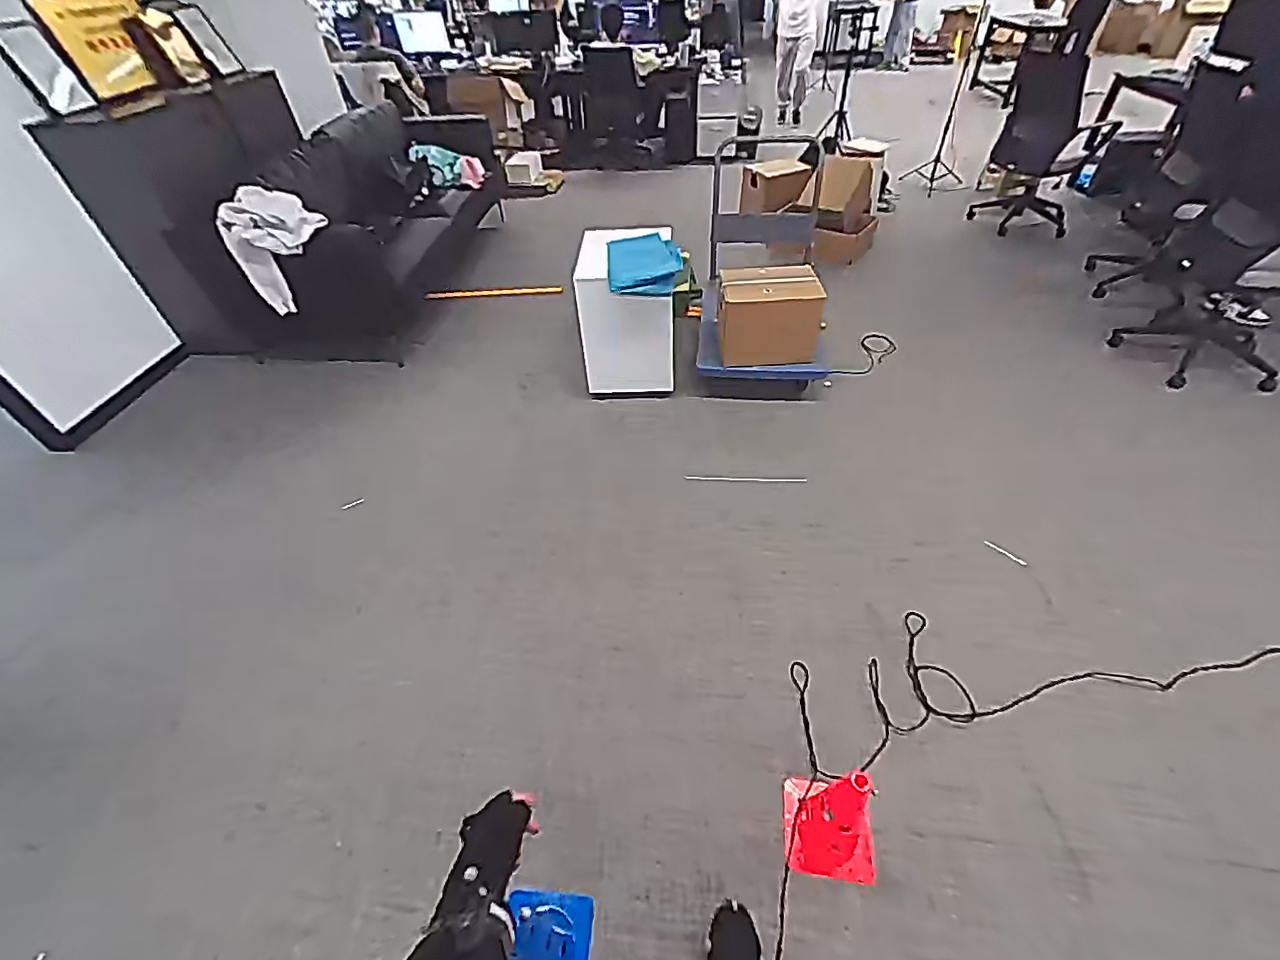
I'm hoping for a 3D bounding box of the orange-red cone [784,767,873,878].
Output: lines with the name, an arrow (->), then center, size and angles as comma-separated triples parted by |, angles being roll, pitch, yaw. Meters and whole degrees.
orange-red cone -> 0.435, 0.699, 1.170 | 0.198, 0.360, 0.199 | 5, 47, 10
